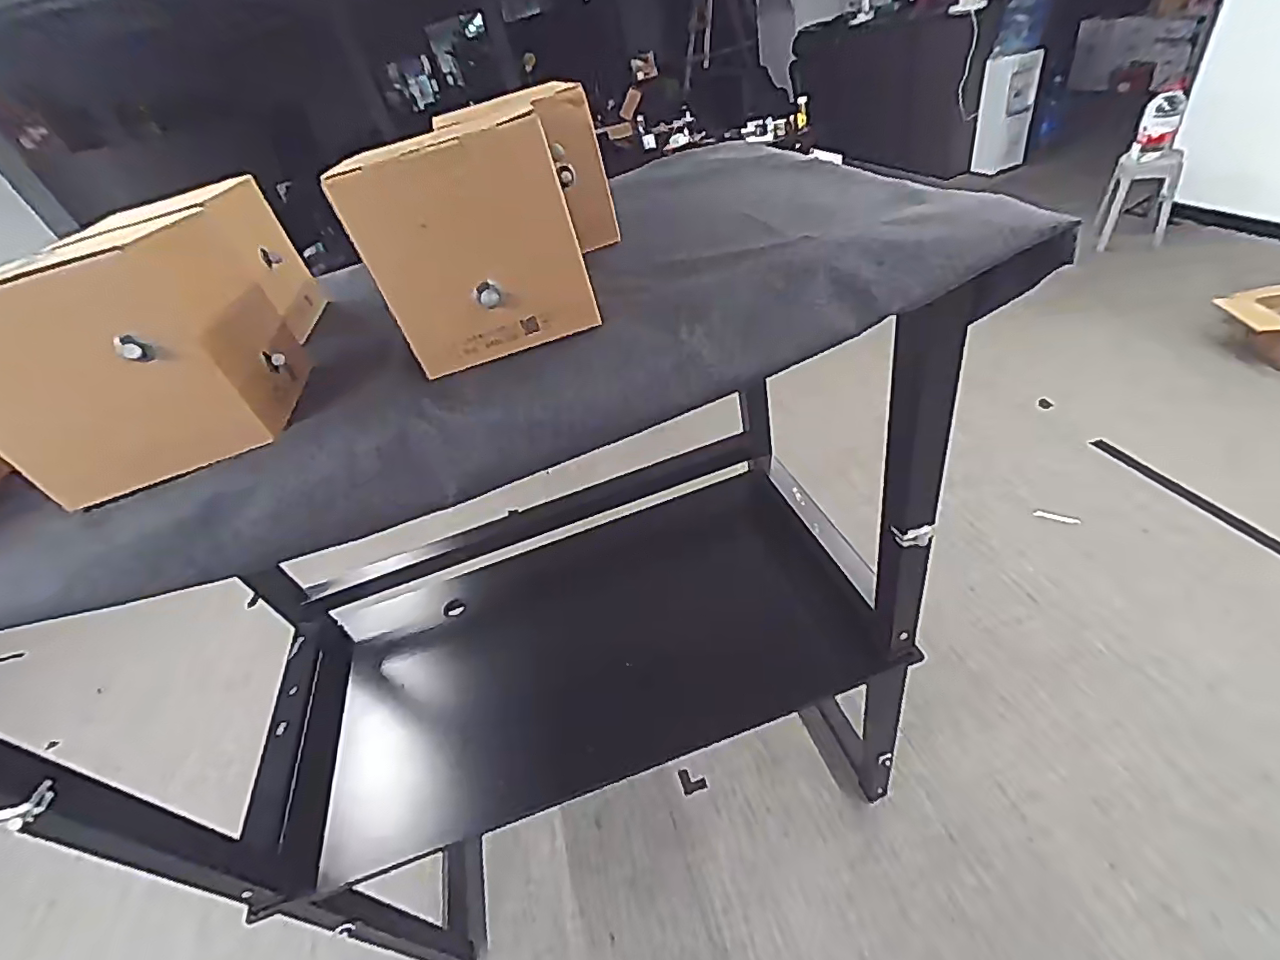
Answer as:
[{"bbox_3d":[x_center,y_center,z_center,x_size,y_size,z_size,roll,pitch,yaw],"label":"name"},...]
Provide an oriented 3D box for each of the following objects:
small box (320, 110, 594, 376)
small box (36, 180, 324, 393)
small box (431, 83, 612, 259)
[{"bbox_3d":[-0.152,-0.222,0.505,0.168,0.176,0.179,-18,39,-1],"label":"small box"},{"bbox_3d":[-0.522,-0.233,0.653,0.179,0.176,0.168,-20,40,-3],"label":"small box"},{"bbox_3d":[-0.145,-0.371,0.676,0.168,0.176,0.179,-20,40,-6],"label":"small box"}]
